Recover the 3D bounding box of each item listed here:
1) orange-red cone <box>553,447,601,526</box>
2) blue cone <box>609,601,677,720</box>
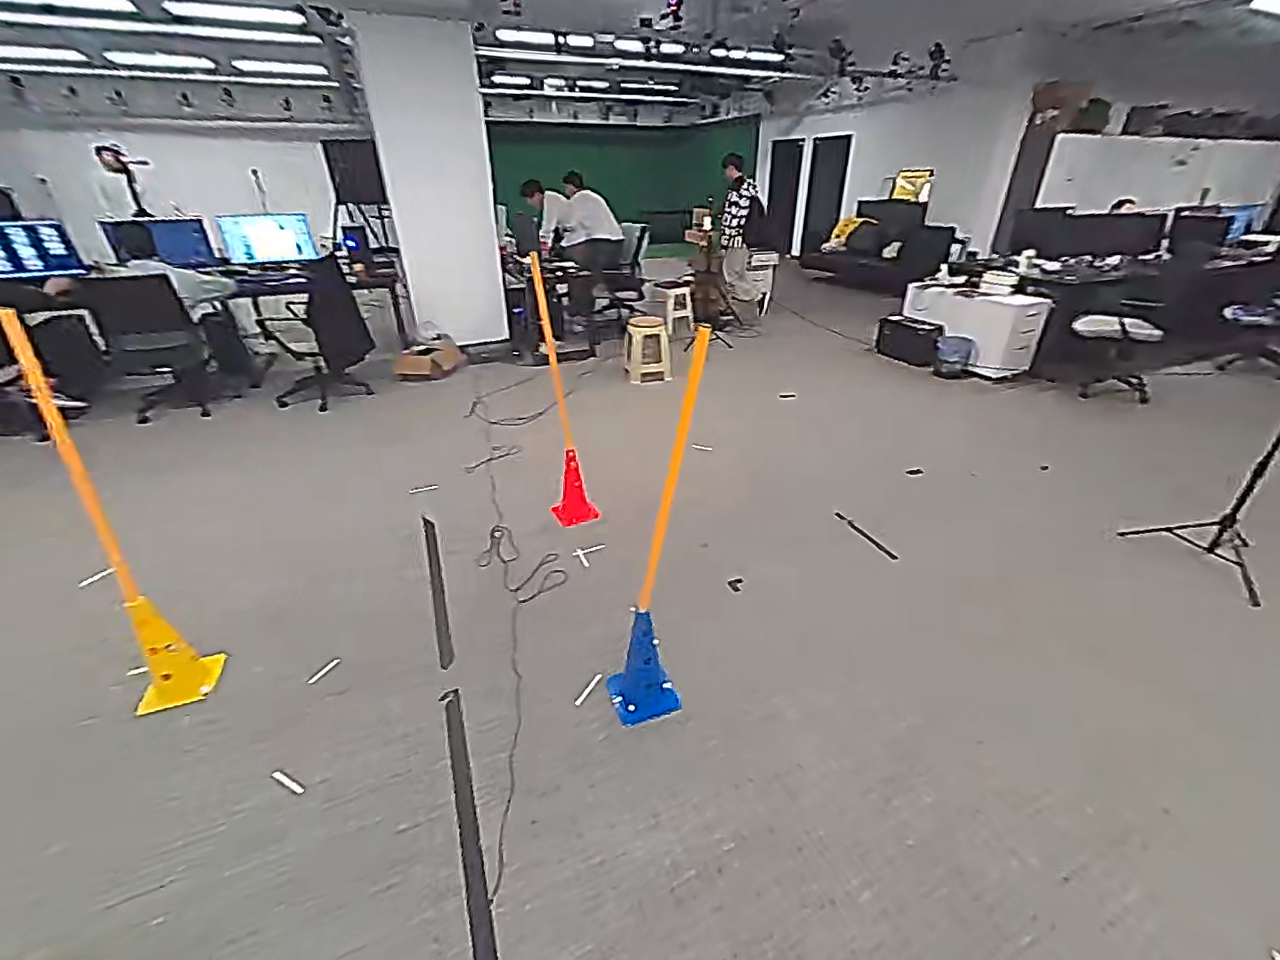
[{"bbox_3d":[-0.315,0.012,2.586,0.199,0.360,0.198,-16,32,-23],"label":"orange-red cone"},{"bbox_3d":[0.007,0.534,1.660,0.193,0.380,0.192,-11,30,-17],"label":"blue cone"}]
